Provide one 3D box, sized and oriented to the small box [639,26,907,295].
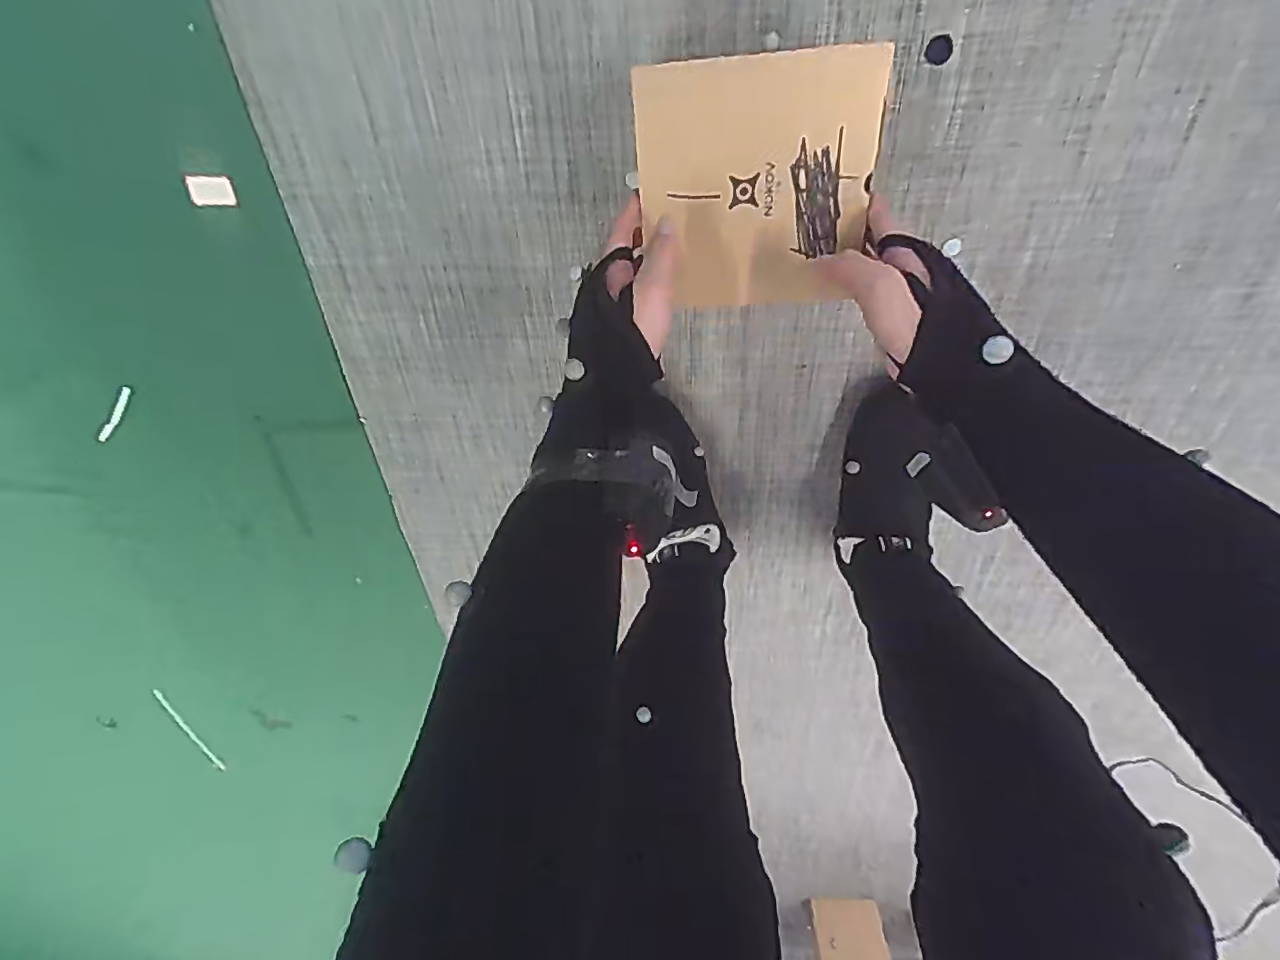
[{"bbox_3d":[0.093,-0.266,0.460,0.179,0.176,0.168,-1,124,5],"label":"small box"}]
